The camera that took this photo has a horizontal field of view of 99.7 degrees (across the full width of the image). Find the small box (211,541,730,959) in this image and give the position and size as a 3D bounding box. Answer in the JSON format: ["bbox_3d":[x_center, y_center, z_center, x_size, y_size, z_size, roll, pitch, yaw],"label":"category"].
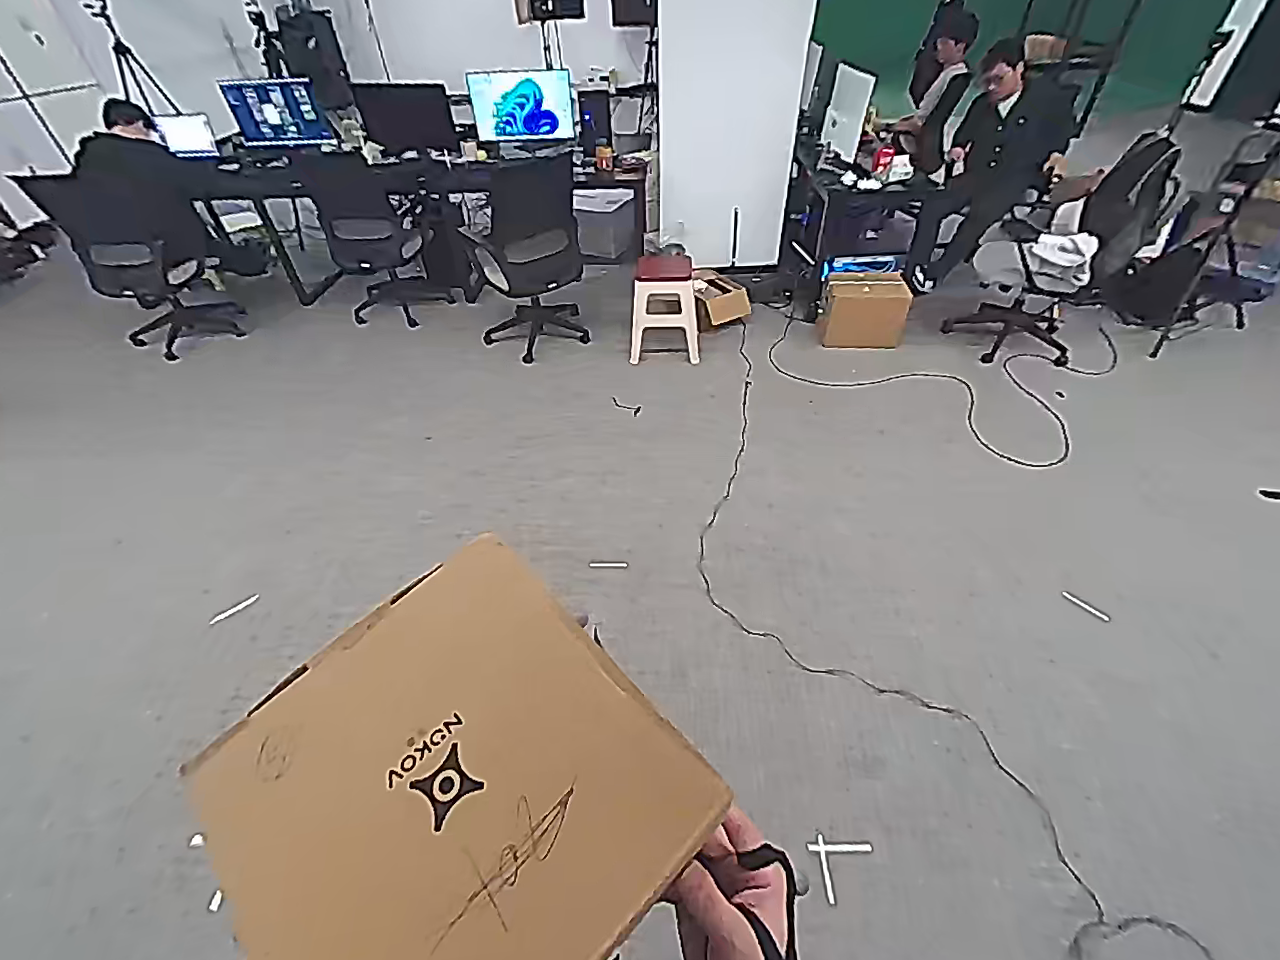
[{"bbox_3d":[-0.072,0.174,0.300,0.179,0.176,0.168,37,66,27],"label":"small box"}]
